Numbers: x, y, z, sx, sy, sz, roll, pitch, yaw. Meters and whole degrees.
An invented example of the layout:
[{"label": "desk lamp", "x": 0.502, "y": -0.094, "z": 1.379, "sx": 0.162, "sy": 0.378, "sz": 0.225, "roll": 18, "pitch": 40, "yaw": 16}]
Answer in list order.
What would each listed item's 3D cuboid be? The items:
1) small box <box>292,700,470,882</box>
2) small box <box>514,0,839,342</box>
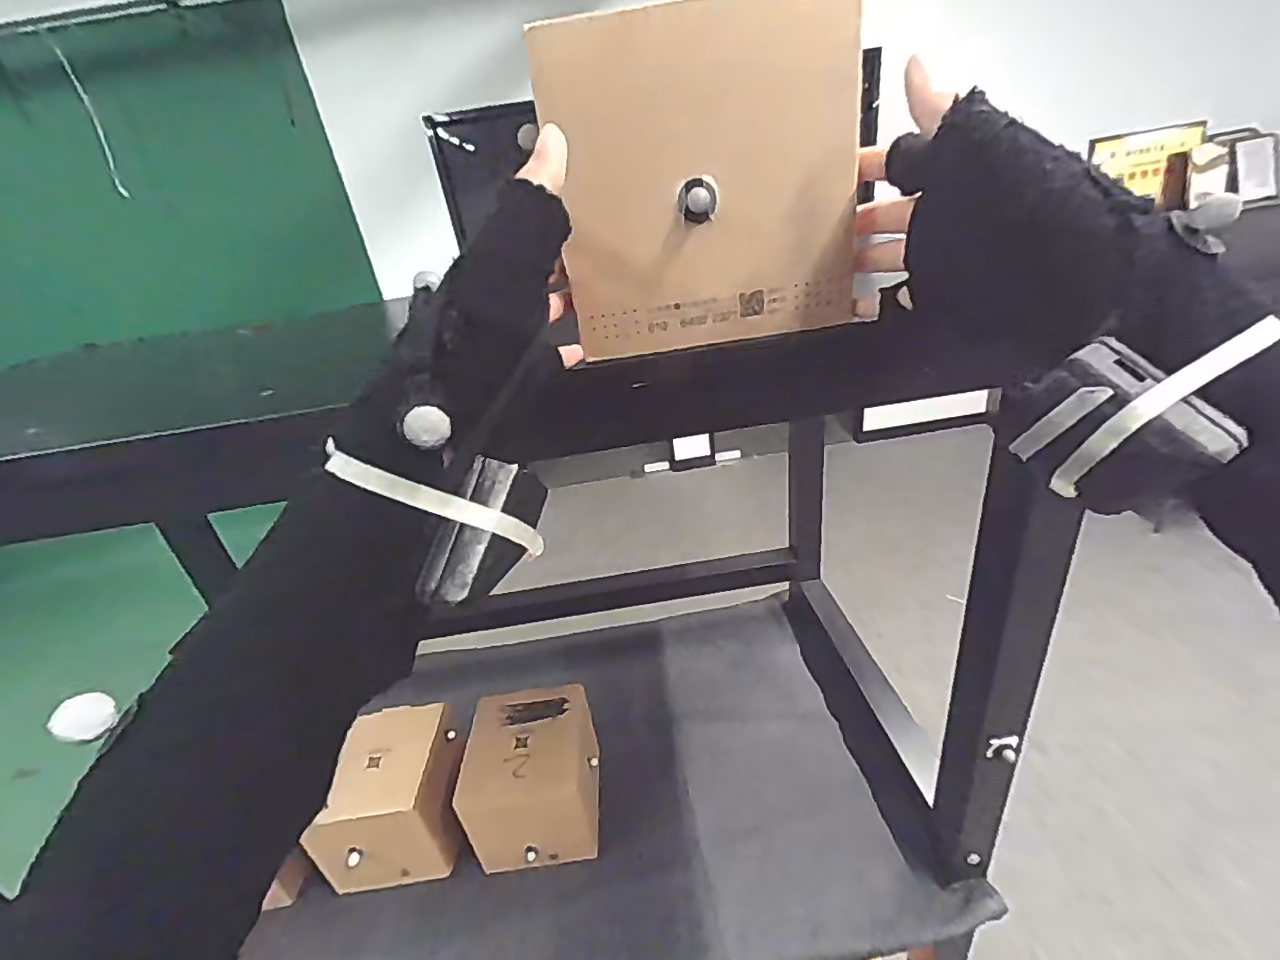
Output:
[{"label": "small box", "x": -0.370, "y": 0.468, "z": 0.815, "sx": 0.168, "sy": 0.176, "sz": 0.179, "roll": -8, "pitch": 26, "yaw": 0}, {"label": "small box", "x": 0.028, "y": -0.197, "z": 0.367, "sx": 0.168, "sy": 0.176, "sz": 0.179, "roll": -8, "pitch": 26, "yaw": 2}]
